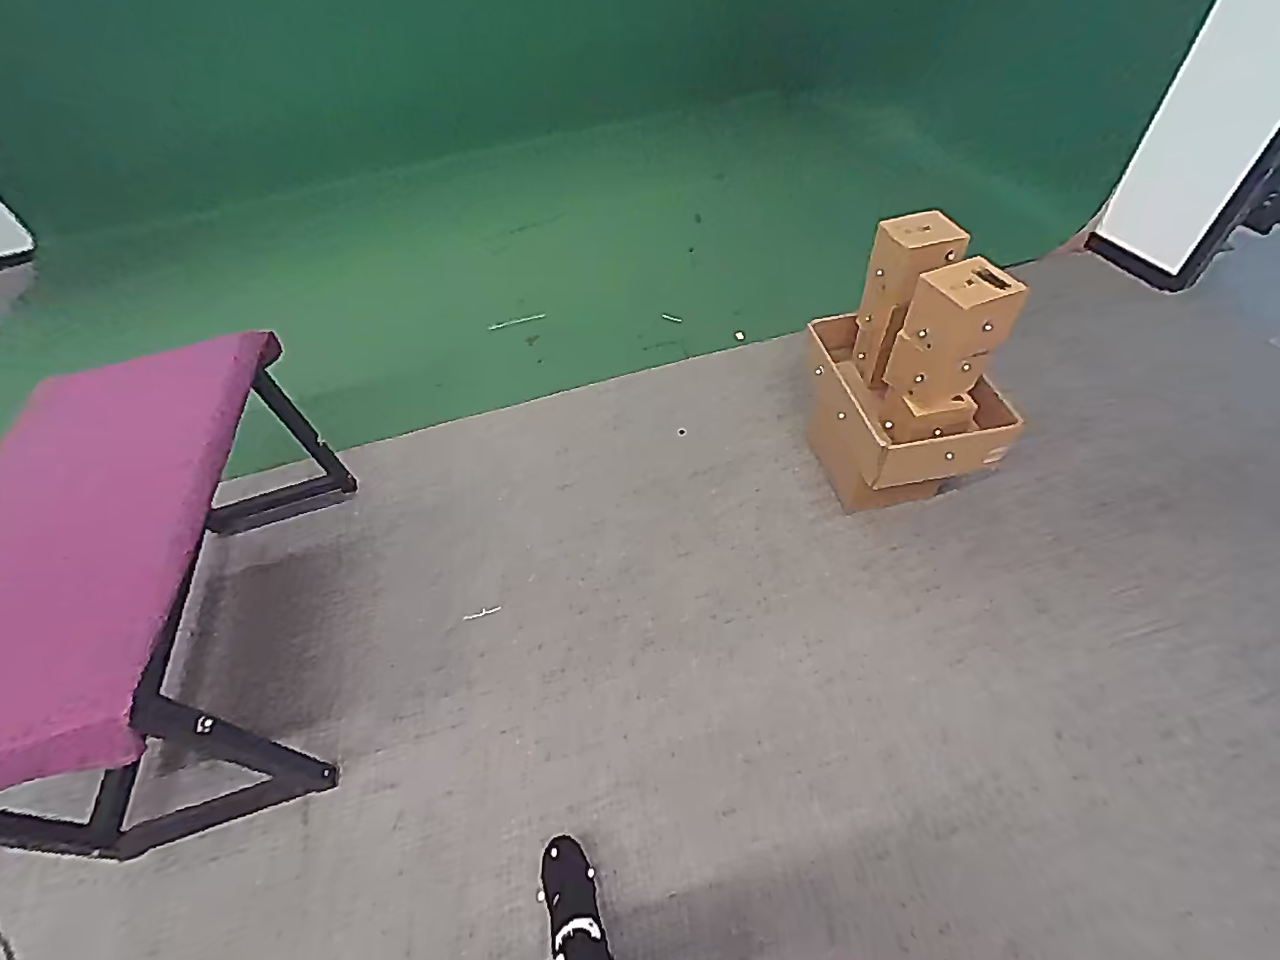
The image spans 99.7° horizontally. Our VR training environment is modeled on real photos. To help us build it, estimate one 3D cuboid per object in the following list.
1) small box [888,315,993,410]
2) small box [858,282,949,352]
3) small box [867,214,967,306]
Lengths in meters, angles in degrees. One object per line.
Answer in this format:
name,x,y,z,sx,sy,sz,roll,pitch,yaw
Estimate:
small box,0.812,-0.319,1.486,0.179,0.176,0.168,-23,51,-12
small box,0.799,-0.520,1.659,0.179,0.176,0.168,-13,50,-2
small box,0.773,-0.621,1.531,0.179,0.176,0.168,-13,50,-2
